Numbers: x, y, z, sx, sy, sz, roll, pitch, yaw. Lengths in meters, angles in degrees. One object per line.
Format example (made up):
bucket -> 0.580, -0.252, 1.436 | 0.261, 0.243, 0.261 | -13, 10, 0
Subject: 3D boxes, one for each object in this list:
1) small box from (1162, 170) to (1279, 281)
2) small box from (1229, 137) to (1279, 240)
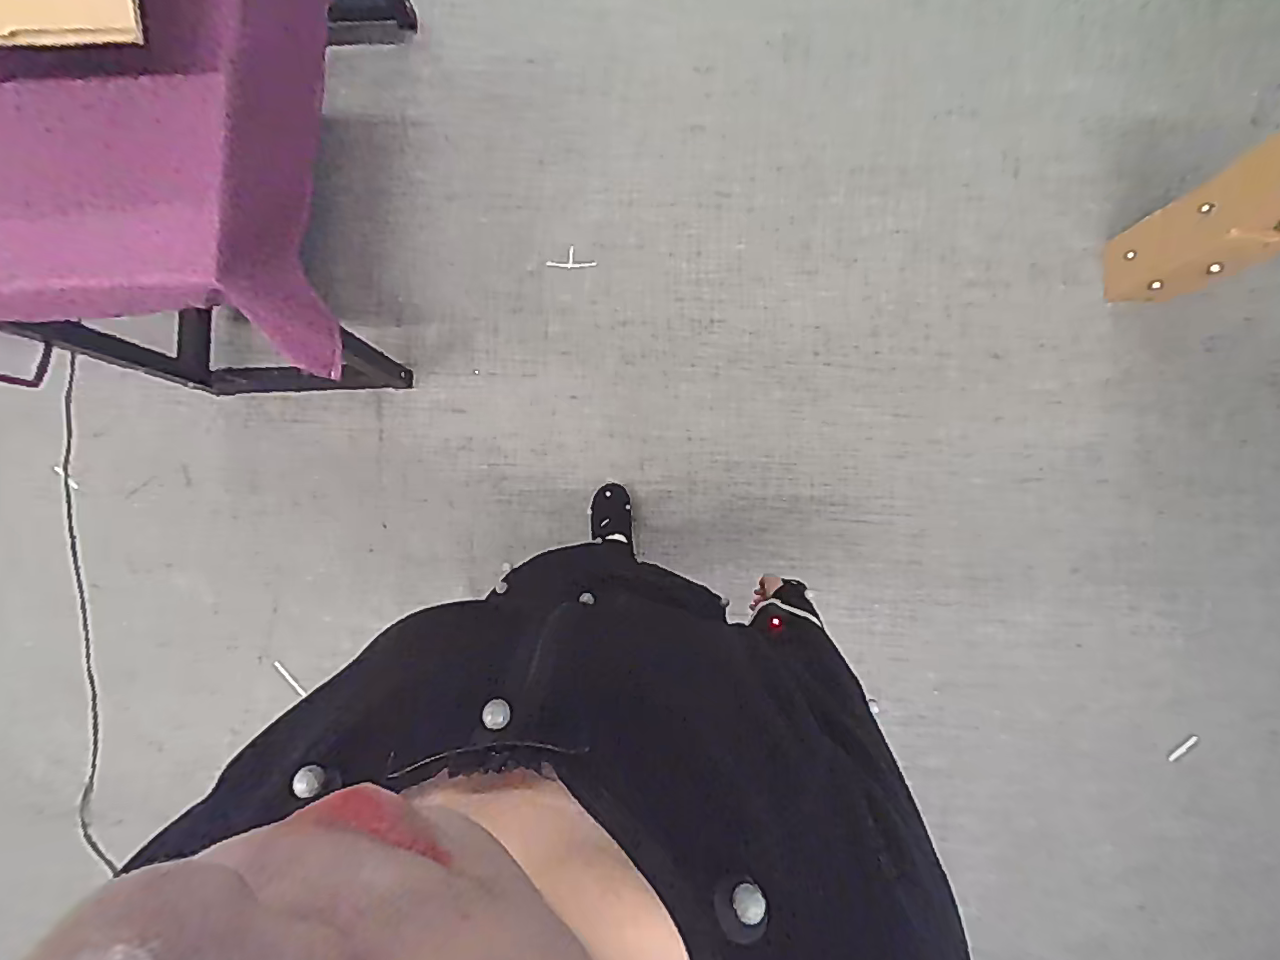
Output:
small box -> 1.423, -0.610, 1.309 | 0.168, 0.176, 0.179 | 5, 84, 2
small box -> 1.421, -0.638, 1.149 | 0.168, 0.176, 0.179 | 8, 85, 2
